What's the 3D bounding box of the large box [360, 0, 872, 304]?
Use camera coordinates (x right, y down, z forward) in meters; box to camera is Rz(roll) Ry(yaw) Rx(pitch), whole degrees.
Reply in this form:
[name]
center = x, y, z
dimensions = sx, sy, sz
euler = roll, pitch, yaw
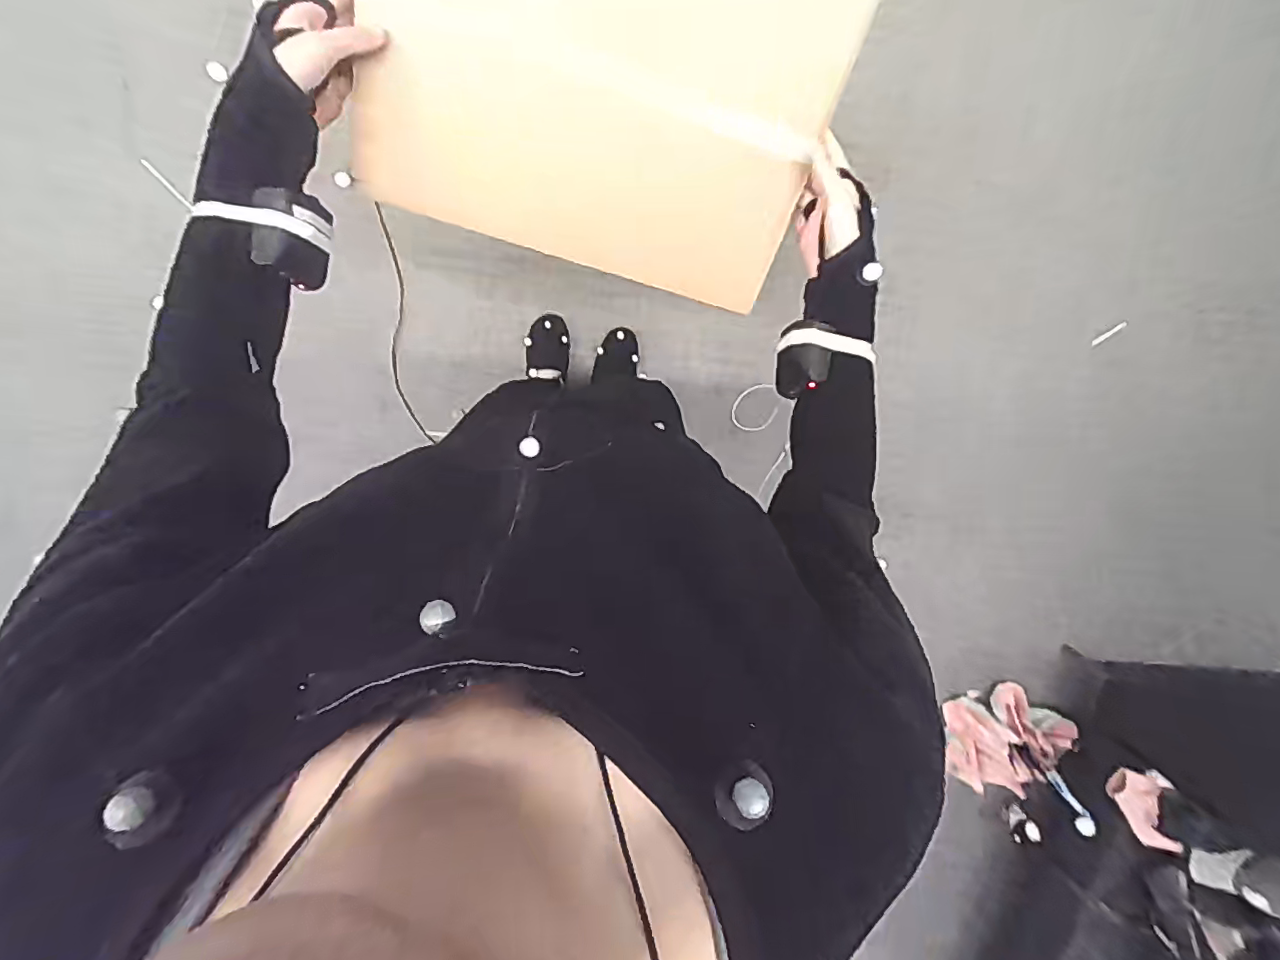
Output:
[large box]
center = -0.034, -0.434, 0.590
dimensions = 0.408, 0.320, 0.320
euler = 14, 120, -12
